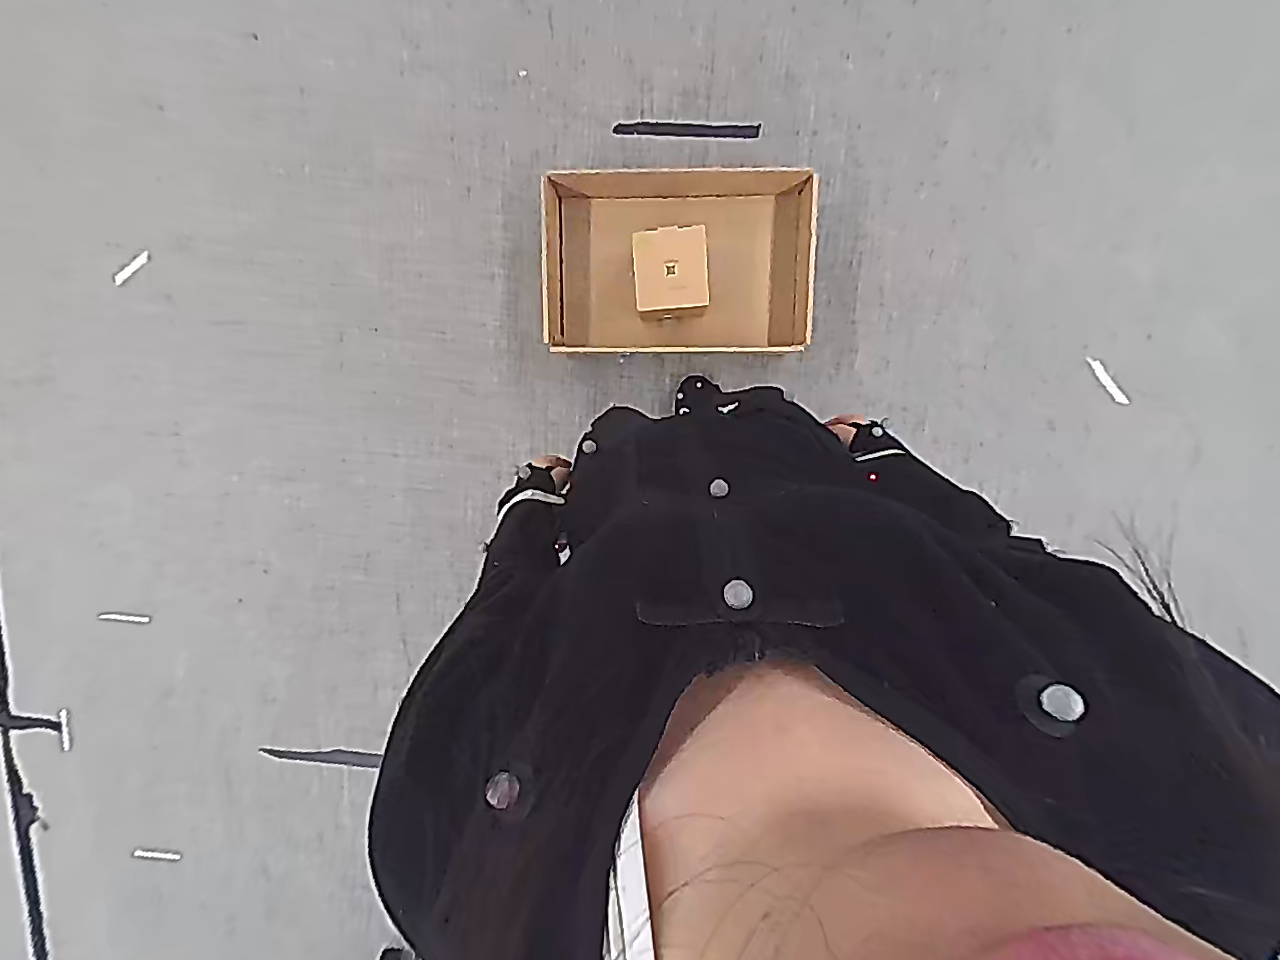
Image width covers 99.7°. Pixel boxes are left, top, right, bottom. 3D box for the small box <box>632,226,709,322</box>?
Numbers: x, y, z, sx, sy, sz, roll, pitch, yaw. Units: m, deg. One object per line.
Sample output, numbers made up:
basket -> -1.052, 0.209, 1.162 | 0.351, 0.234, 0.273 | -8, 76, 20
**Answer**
small box -> 0.072, -0.484, 1.290 | 0.168, 0.176, 0.179 | -4, 99, 4
